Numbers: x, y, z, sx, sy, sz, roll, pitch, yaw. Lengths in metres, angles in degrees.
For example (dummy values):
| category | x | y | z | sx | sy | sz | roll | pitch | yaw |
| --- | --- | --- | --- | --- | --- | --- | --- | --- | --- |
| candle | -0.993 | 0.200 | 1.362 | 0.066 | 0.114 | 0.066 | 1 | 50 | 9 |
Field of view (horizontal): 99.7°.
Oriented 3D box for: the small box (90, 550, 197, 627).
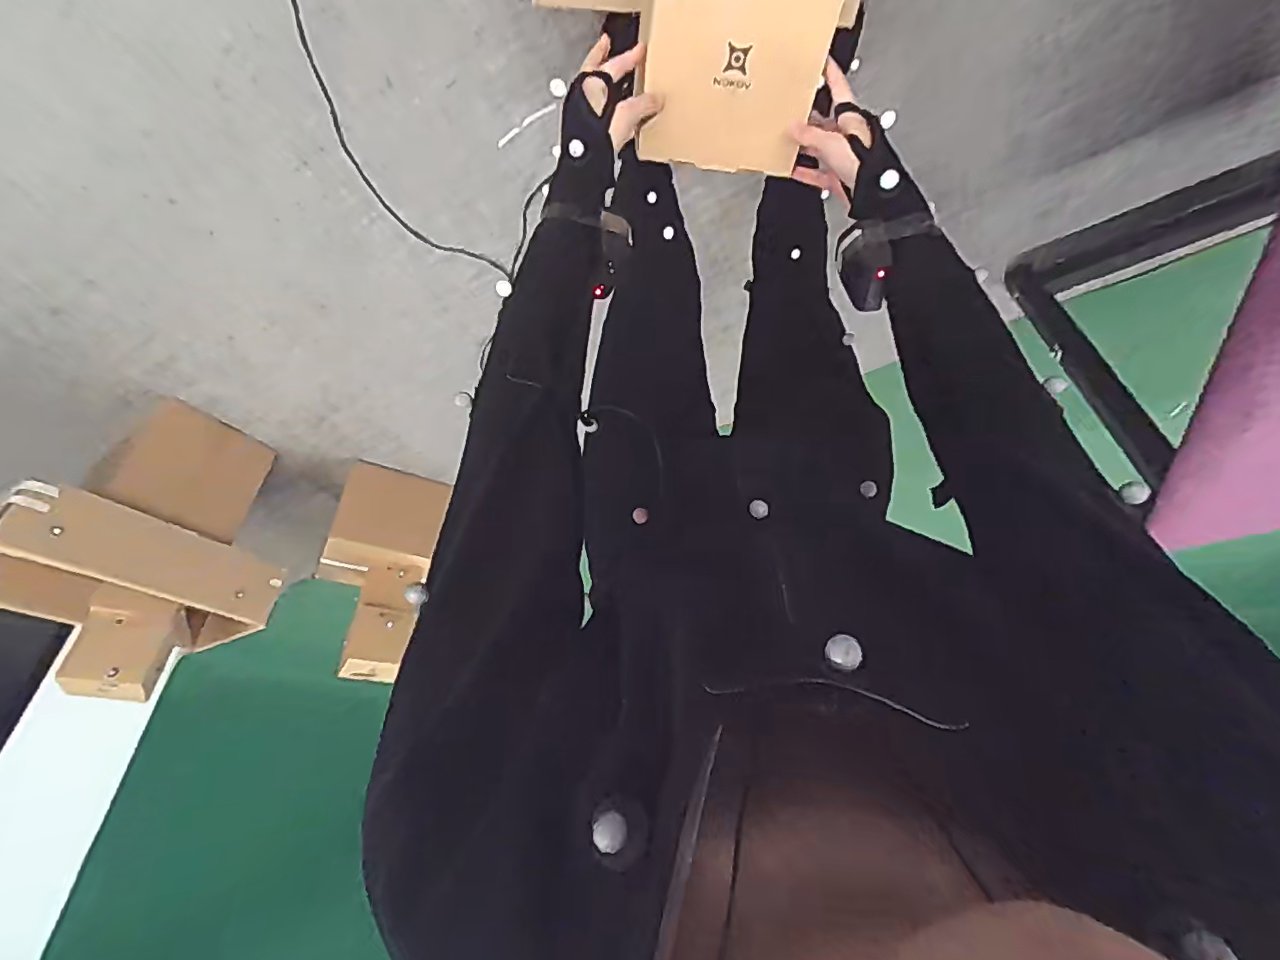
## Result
| category | x | y | z | sx | sy | sz | roll | pitch | yaw |
| --- | --- | --- | --- | --- | --- | --- | --- | --- | --- |
| small box | -1.339 | 0.310 | 1.465 | 0.168 | 0.176 | 0.179 | 23 | 137 | -30 |

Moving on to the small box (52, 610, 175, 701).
| category | x | y | z | sx | sy | sz | roll | pitch | yaw |
| --- | --- | --- | --- | --- | --- | --- | --- | --- | --- |
| small box | -1.327 | 0.451 | 1.381 | 0.168 | 0.176 | 0.179 | 18 | 139 | -26 |

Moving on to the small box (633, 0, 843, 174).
| category | x | y | z | sx | sy | sz | roll | pitch | yaw |
| --- | --- | --- | --- | --- | --- | --- | --- | --- | --- |
| small box | 0.083 | -0.440 | 0.542 | 0.168 | 0.176 | 0.179 | 3 | 140 | -6 |

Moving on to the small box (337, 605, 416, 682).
| category | x | y | z | sx | sy | sz | roll | pitch | yaw |
| --- | --- | --- | --- | --- | --- | --- | --- | --- | --- |
| small box | -0.808 | 0.506 | 1.666 | 0.168 | 0.176 | 0.179 | 19 | 138 | -28 |

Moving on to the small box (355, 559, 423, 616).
| category | x | y | z | sx | sy | sz | roll | pitch | yaw |
| --- | --- | --- | --- | --- | --- | --- | --- | --- | --- |
| small box | -0.821 | 0.379 | 1.770 | 0.168 | 0.176 | 0.179 | 16 | 140 | -24 |
